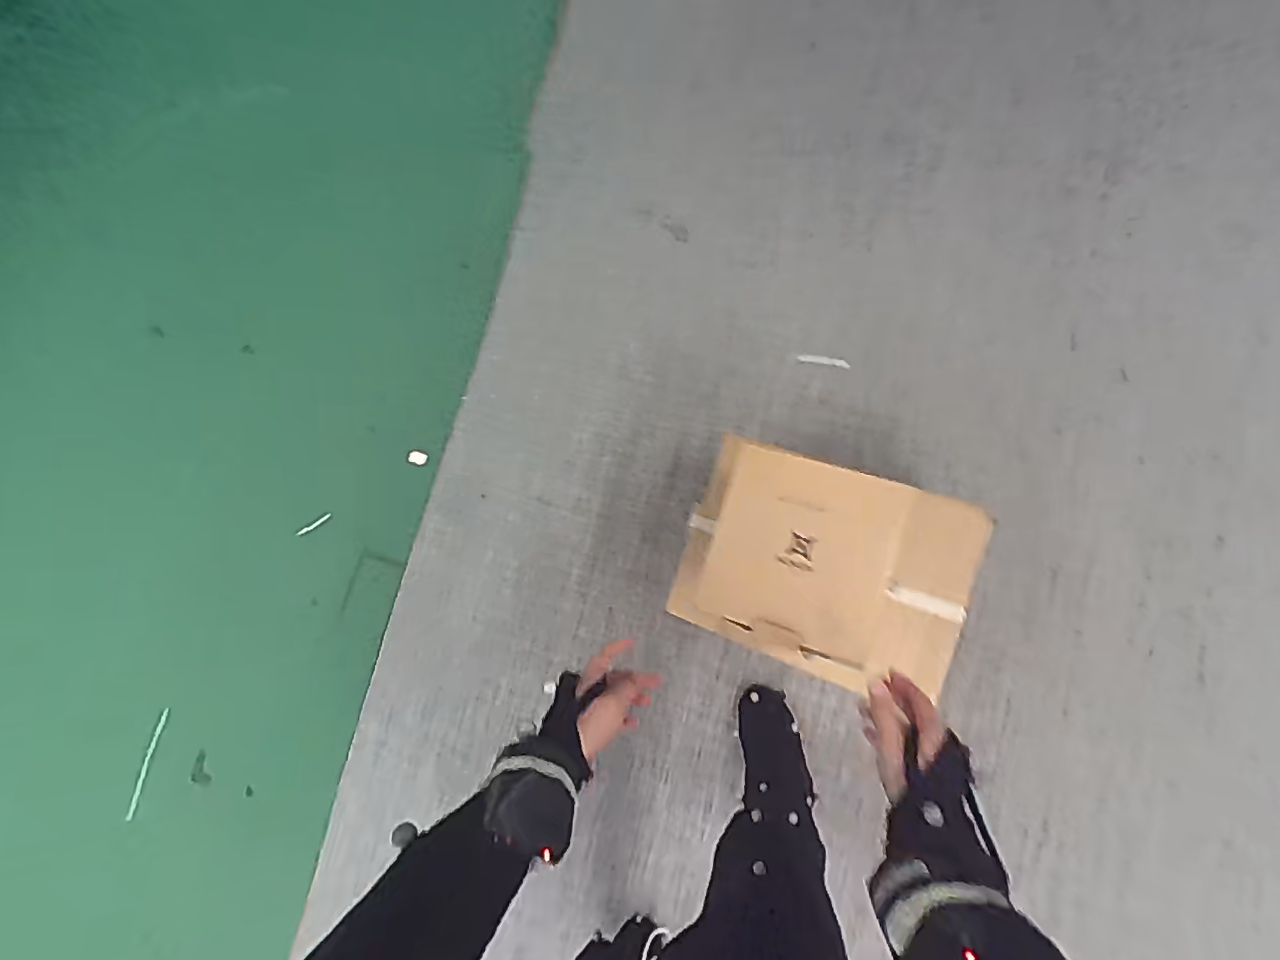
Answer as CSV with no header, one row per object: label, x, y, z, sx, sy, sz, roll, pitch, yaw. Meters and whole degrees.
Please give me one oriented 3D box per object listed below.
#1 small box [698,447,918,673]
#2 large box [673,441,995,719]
small box,0.177,0.084,0.589,0.168,0.176,0.179,17,84,17
large box,0.318,0.160,0.962,0.408,0.320,0.320,19,86,18
